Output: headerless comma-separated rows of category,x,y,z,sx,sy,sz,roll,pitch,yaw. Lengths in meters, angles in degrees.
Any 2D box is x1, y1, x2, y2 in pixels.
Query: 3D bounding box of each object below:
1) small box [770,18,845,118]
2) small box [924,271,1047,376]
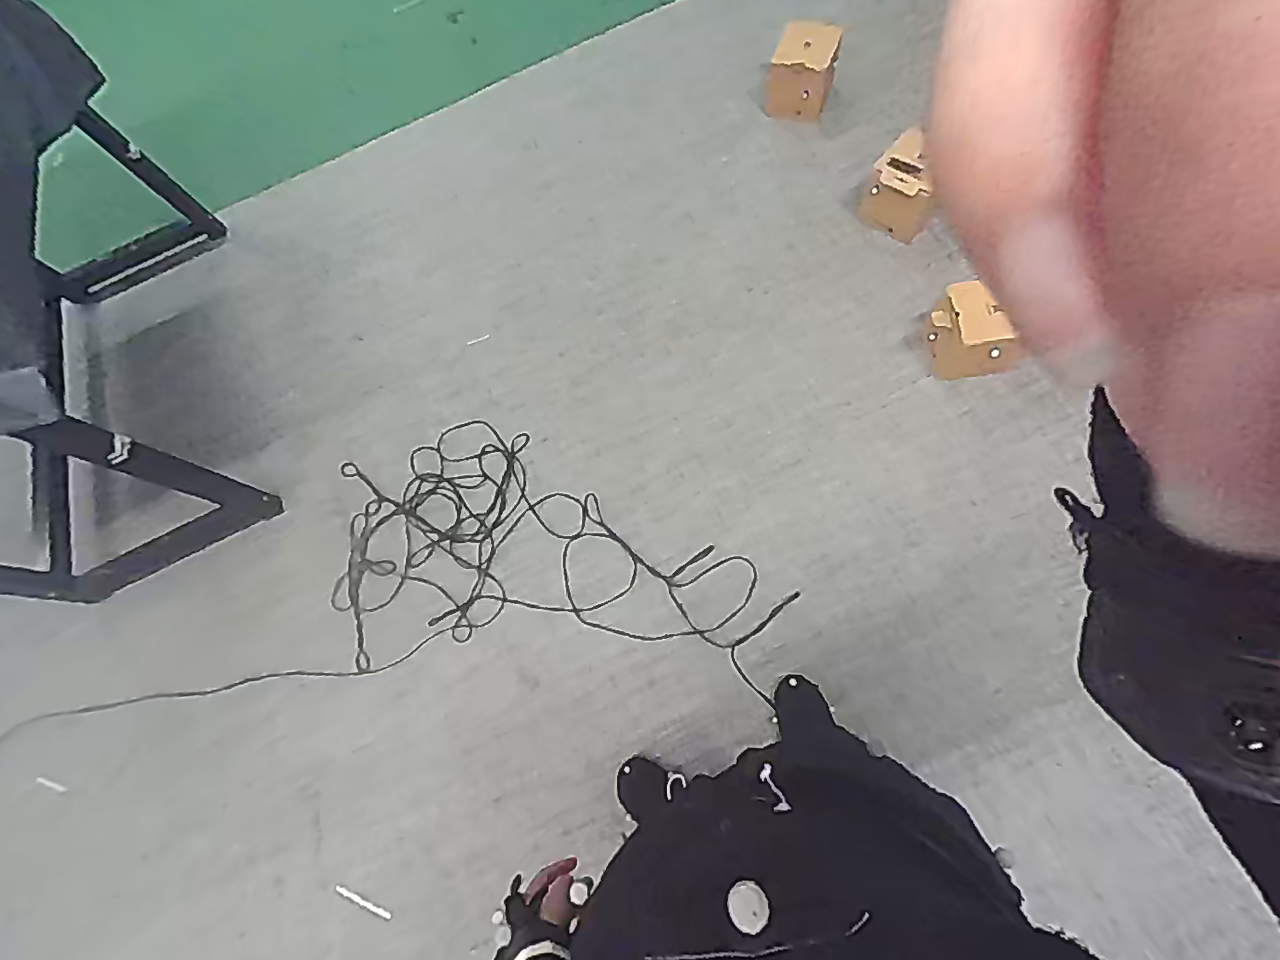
small box,0.499,-1.240,1.635,0.168,0.176,0.179,20,74,13
small box,0.813,-0.368,1.291,0.179,0.176,0.168,-7,71,6
